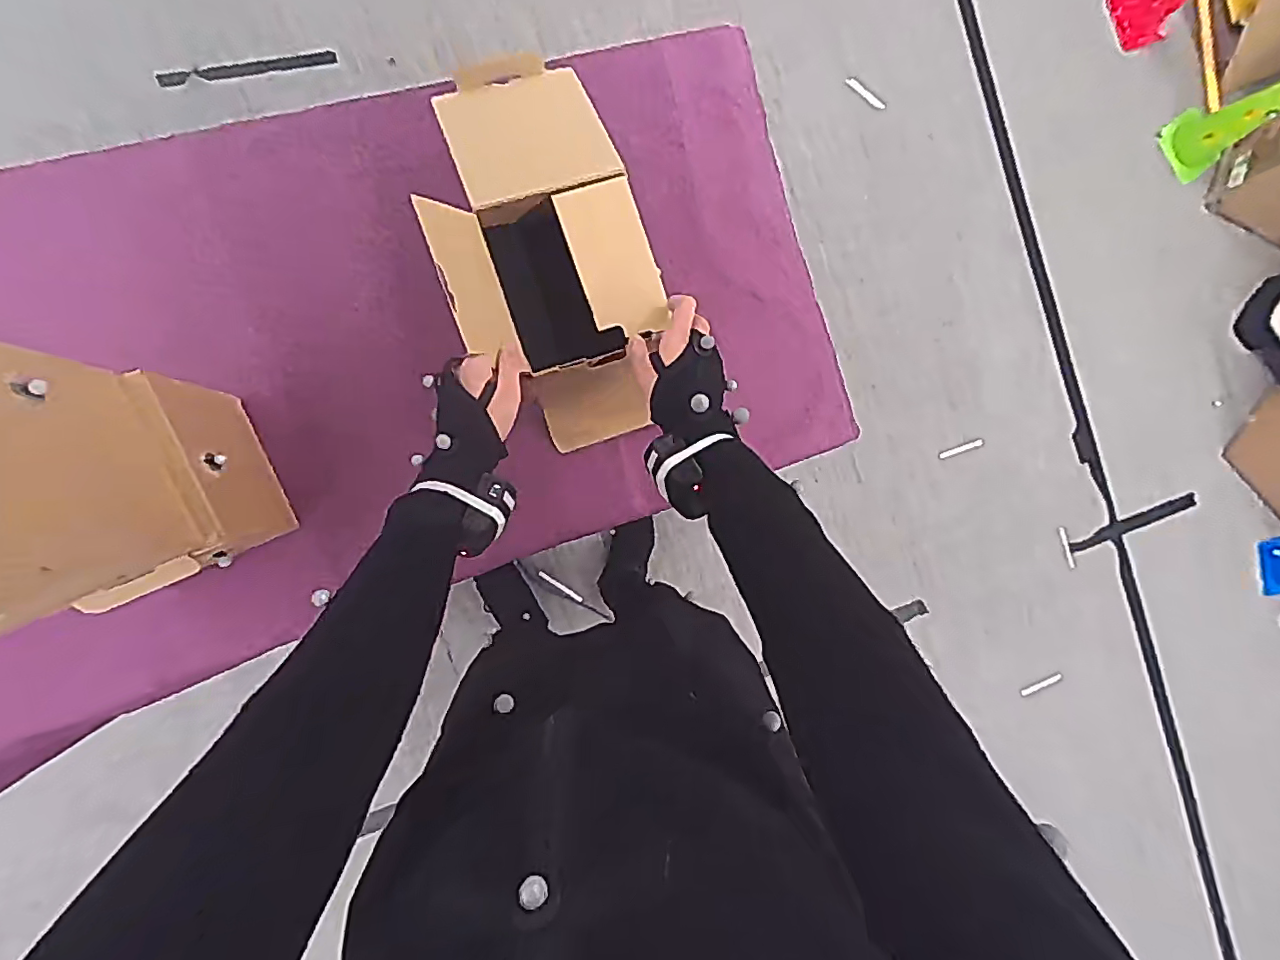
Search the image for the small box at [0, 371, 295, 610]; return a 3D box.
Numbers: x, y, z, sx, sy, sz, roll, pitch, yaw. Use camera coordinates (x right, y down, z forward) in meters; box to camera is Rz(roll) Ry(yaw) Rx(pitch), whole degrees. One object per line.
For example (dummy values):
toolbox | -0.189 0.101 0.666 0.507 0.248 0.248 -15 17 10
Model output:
small box | -0.505 0.007 0.565 0.168 0.176 0.179 -23 94 -10
